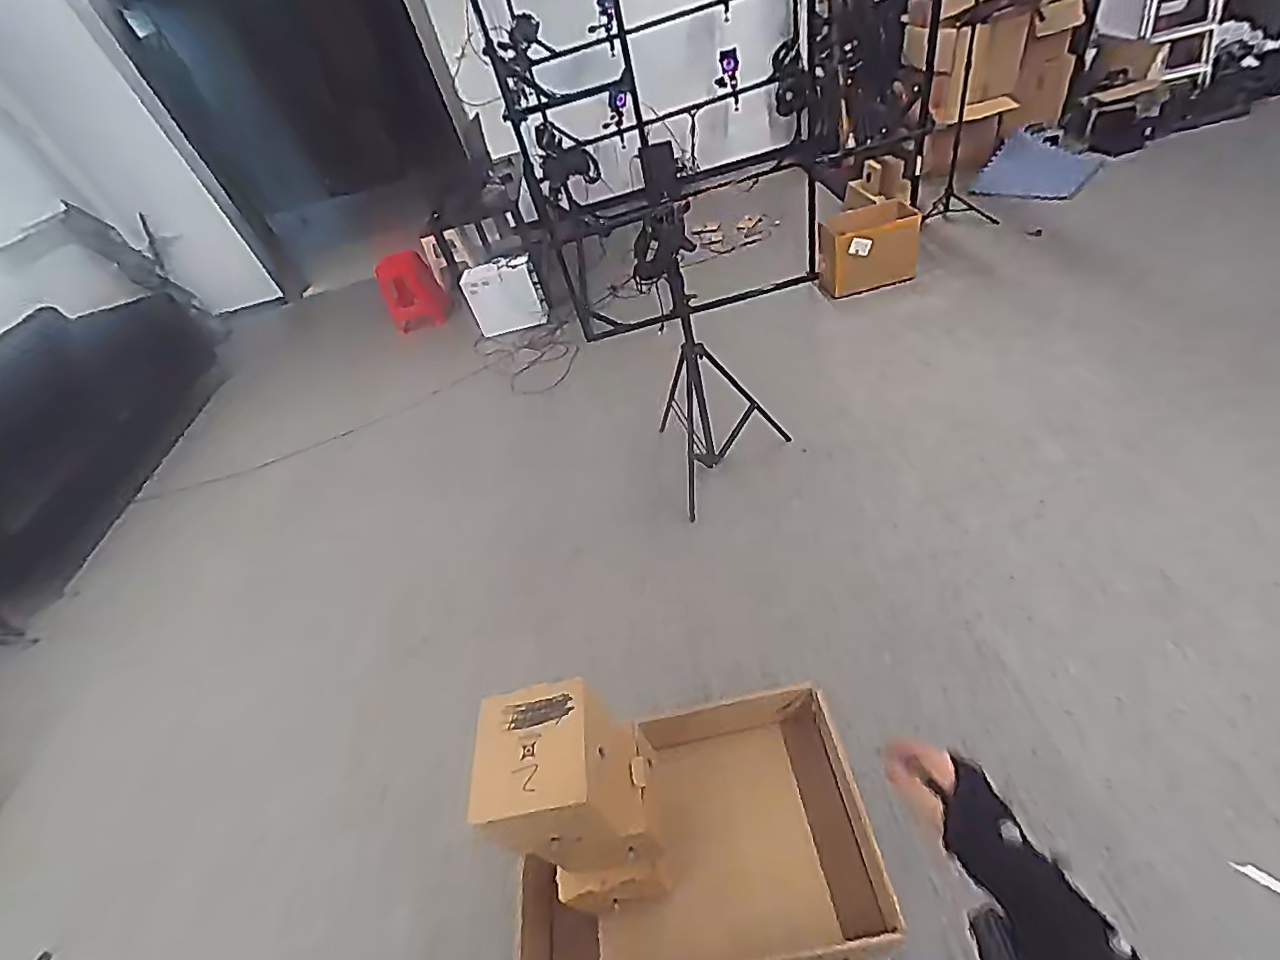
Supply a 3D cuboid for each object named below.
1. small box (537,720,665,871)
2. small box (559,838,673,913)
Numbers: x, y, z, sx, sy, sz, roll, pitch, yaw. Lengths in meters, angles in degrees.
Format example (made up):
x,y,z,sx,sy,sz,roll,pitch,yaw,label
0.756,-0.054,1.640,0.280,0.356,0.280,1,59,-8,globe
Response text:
x,y,z,sx,sy,sz,roll,pitch,yaw,label
-0.059,0.533,0.909,0.179,0.176,0.168,-14,42,5,small box
-0.048,0.669,1.006,0.168,0.176,0.179,-18,43,2,small box
